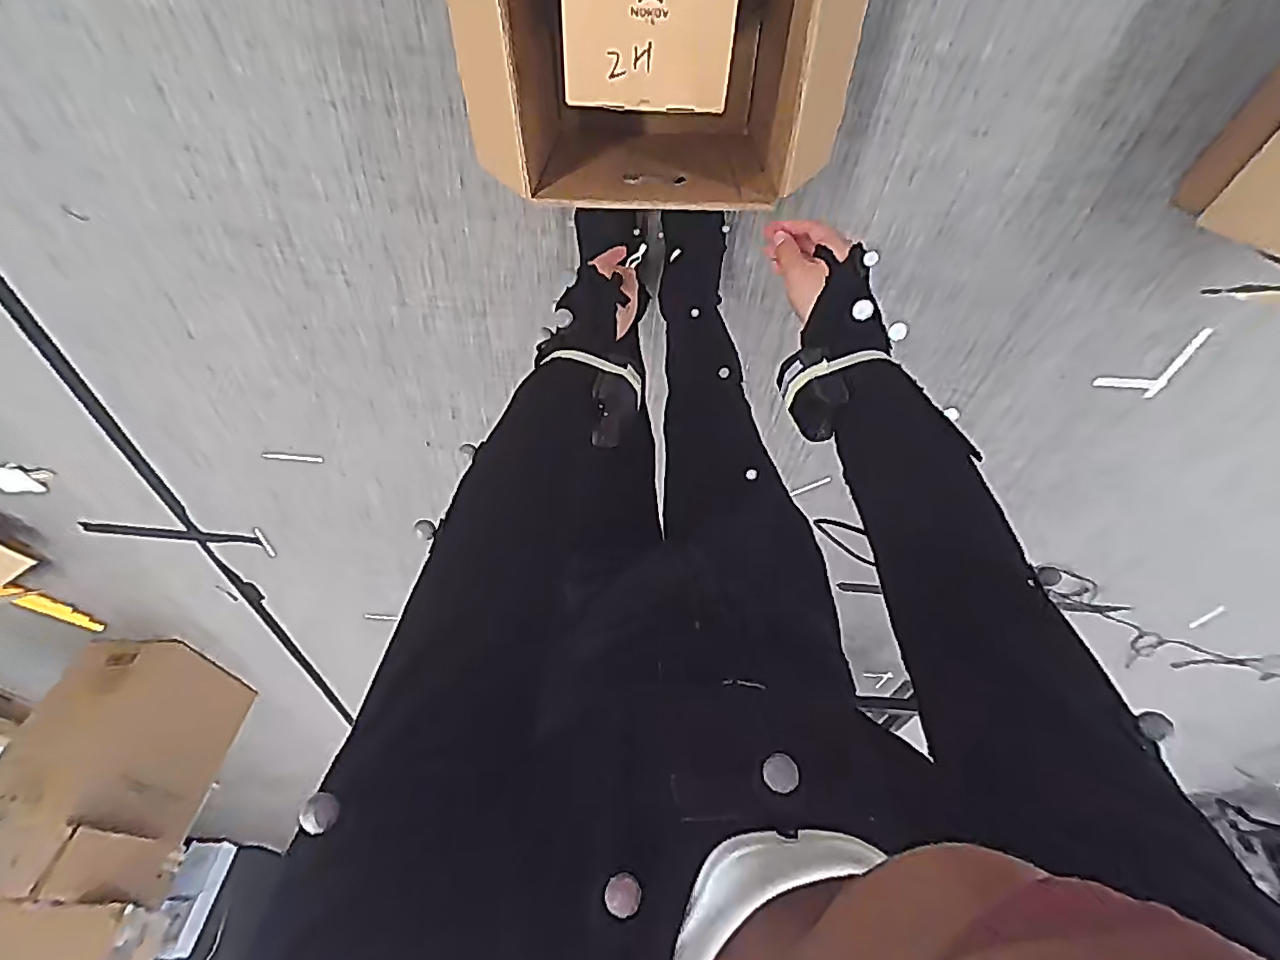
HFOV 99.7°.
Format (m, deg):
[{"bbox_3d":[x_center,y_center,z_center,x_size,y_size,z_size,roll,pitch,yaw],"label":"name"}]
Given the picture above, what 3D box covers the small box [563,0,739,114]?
[{"bbox_3d":[0.011,-0.500,0.553,0.168,0.176,0.179,3,136,0],"label":"small box"}]
